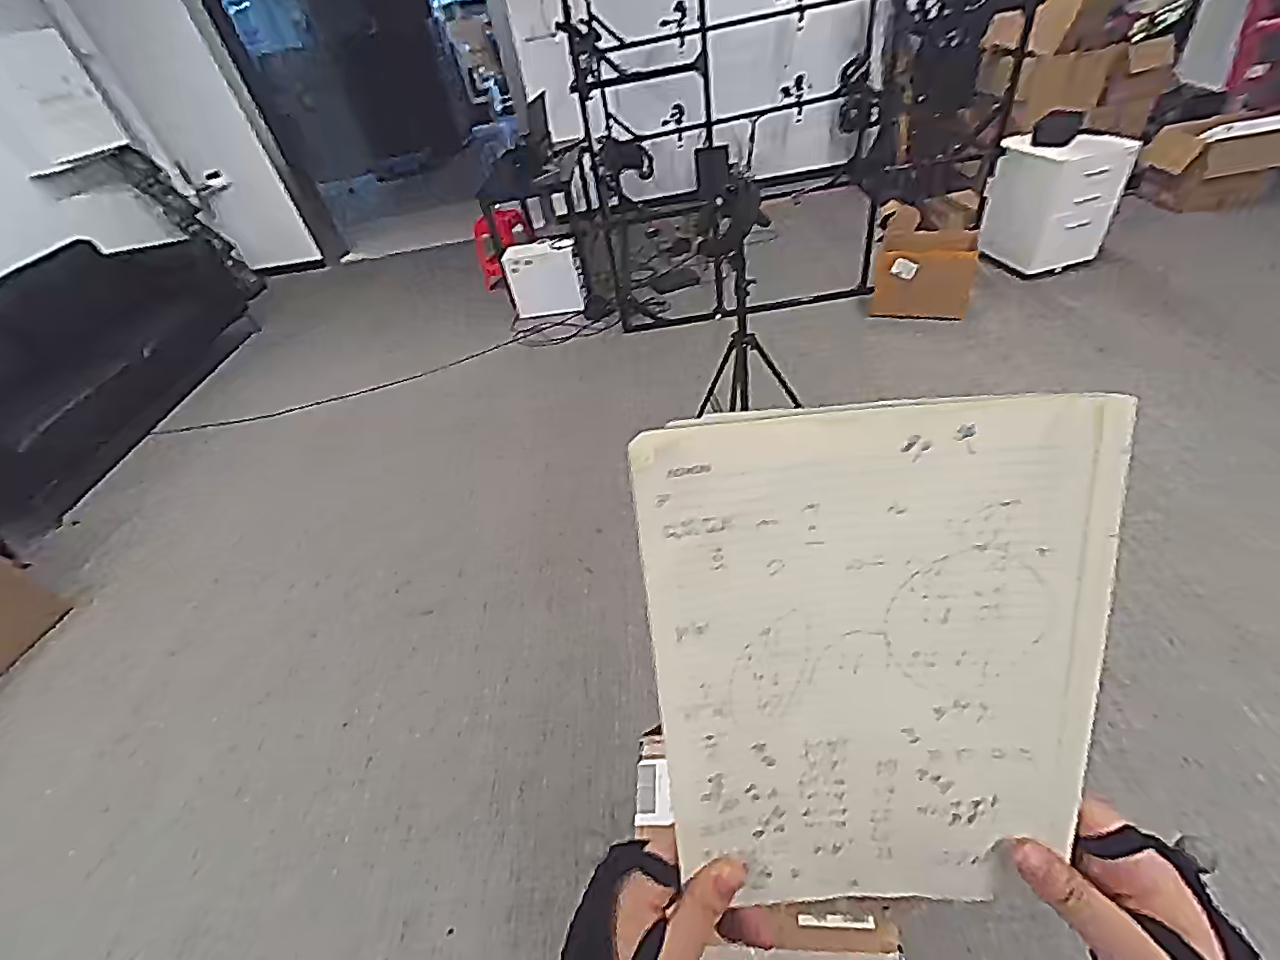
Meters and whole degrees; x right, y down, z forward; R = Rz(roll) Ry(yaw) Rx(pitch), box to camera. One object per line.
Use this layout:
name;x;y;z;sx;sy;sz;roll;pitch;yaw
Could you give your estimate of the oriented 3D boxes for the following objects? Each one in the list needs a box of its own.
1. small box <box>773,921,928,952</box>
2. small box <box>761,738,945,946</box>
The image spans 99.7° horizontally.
small box;0.279;0.559;0.778;0.179;0.176;0.168;-4;43;6
small box;0.241;0.443;0.666;0.168;0.176;0.179;-1;44;8
